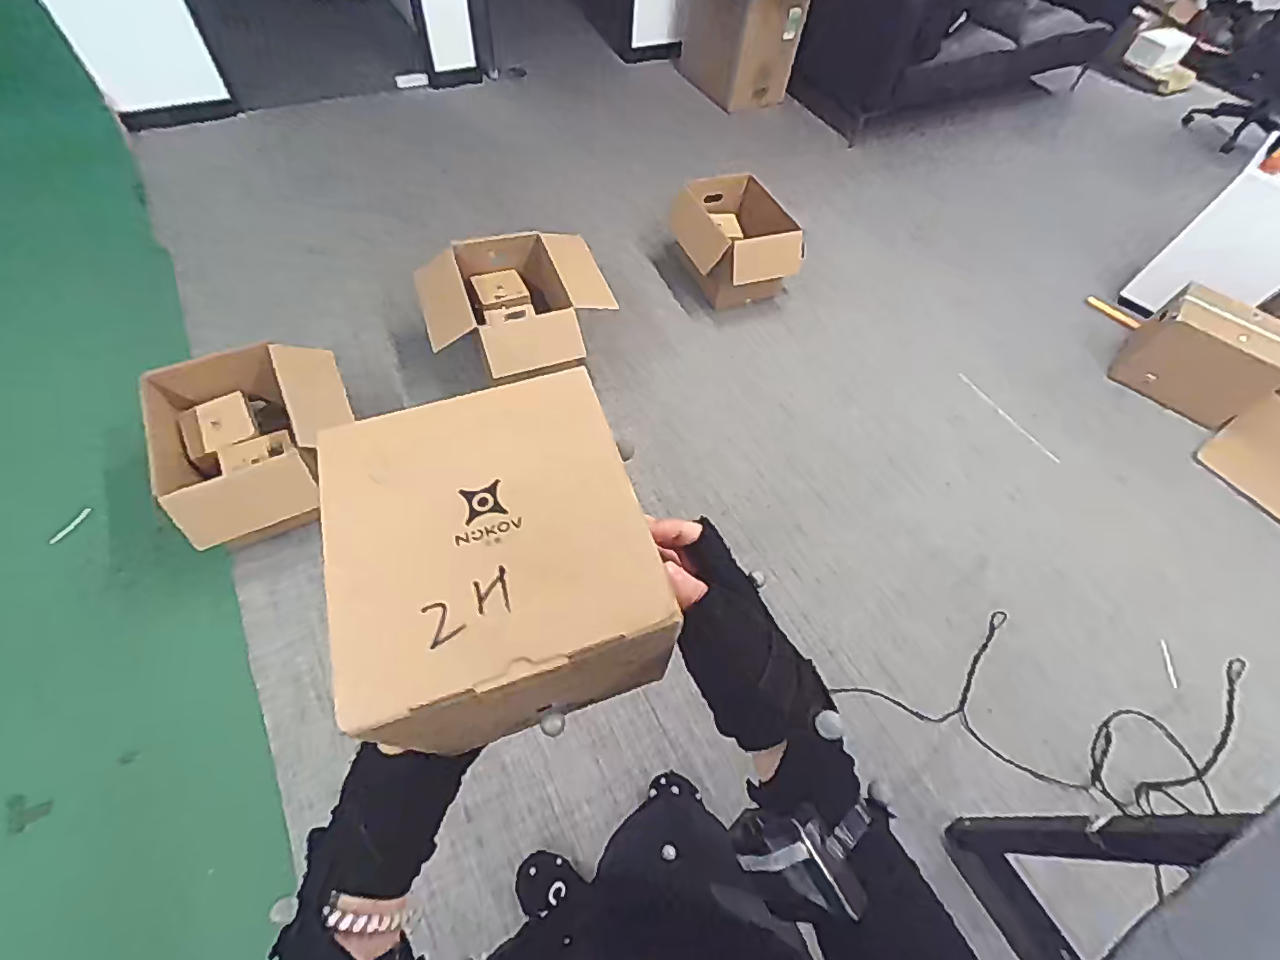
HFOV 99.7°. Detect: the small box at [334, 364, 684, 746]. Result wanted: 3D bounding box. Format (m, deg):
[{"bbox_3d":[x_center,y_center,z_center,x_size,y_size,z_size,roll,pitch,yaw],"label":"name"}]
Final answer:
[{"bbox_3d":[-0.081,0.056,0.364,0.168,0.176,0.179,-16,61,-9],"label":"small box"}]
